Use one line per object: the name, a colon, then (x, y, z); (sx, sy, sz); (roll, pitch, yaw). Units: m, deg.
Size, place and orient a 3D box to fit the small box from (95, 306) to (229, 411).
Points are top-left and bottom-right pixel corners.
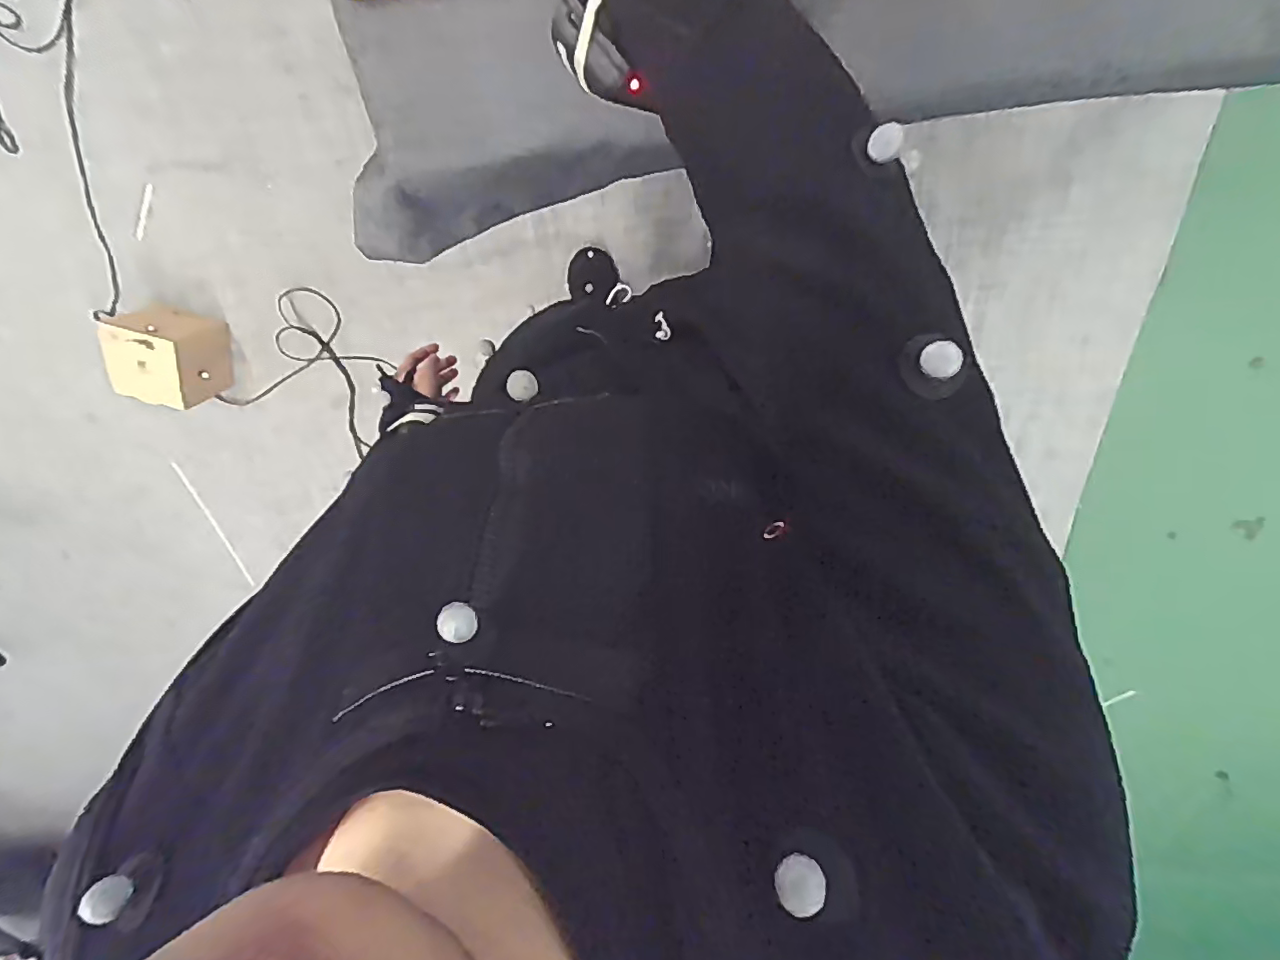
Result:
small box: (-1.128, -0.295, 1.296); (0.168, 0.176, 0.179); (15, 120, -5)
